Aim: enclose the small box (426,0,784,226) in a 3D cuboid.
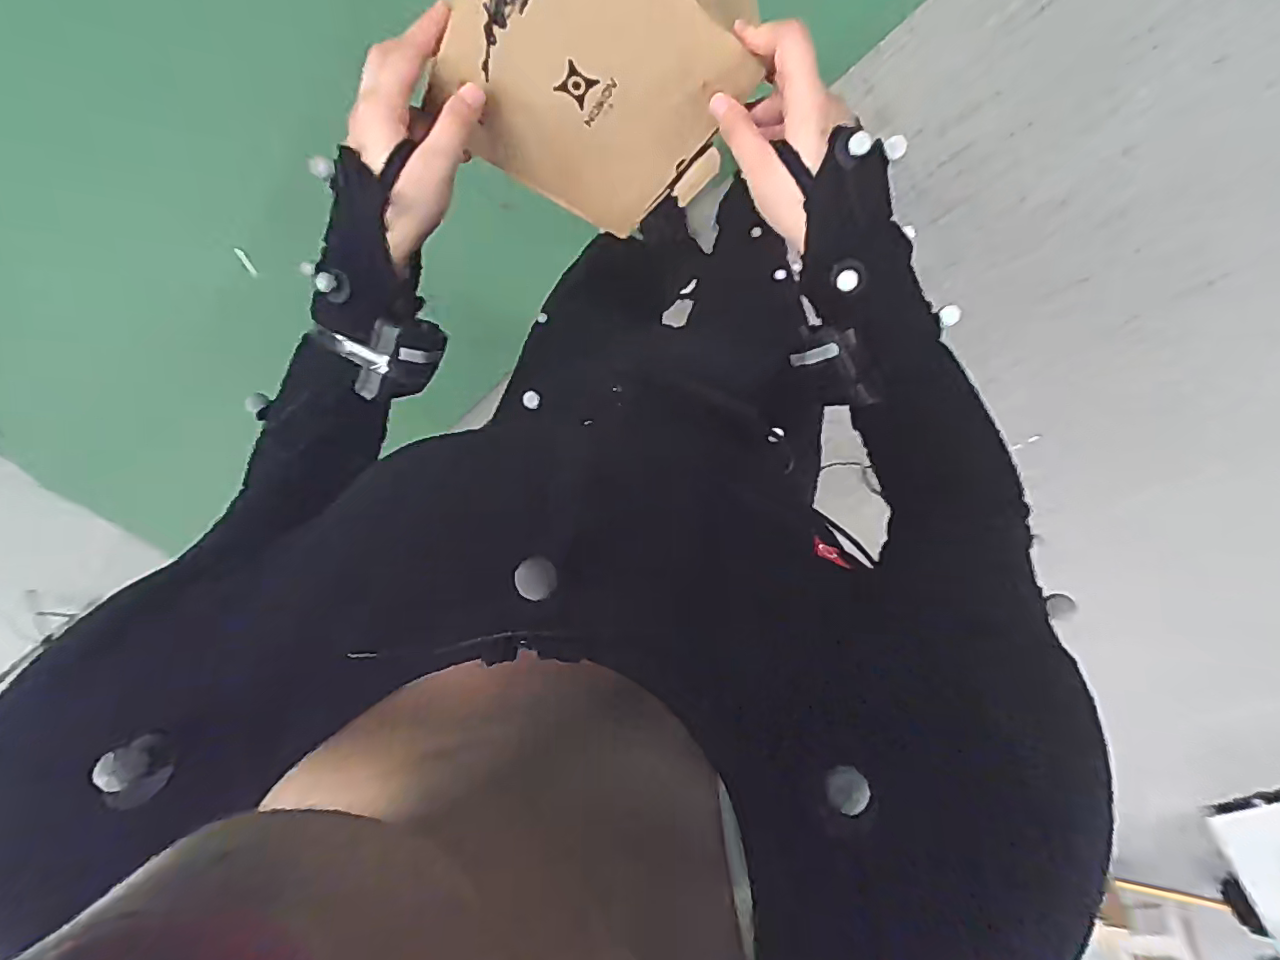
[{"bbox_3d":[-0.026,-0.331,0.379,0.179,0.176,0.168,17,150,-34],"label":"small box"}]
